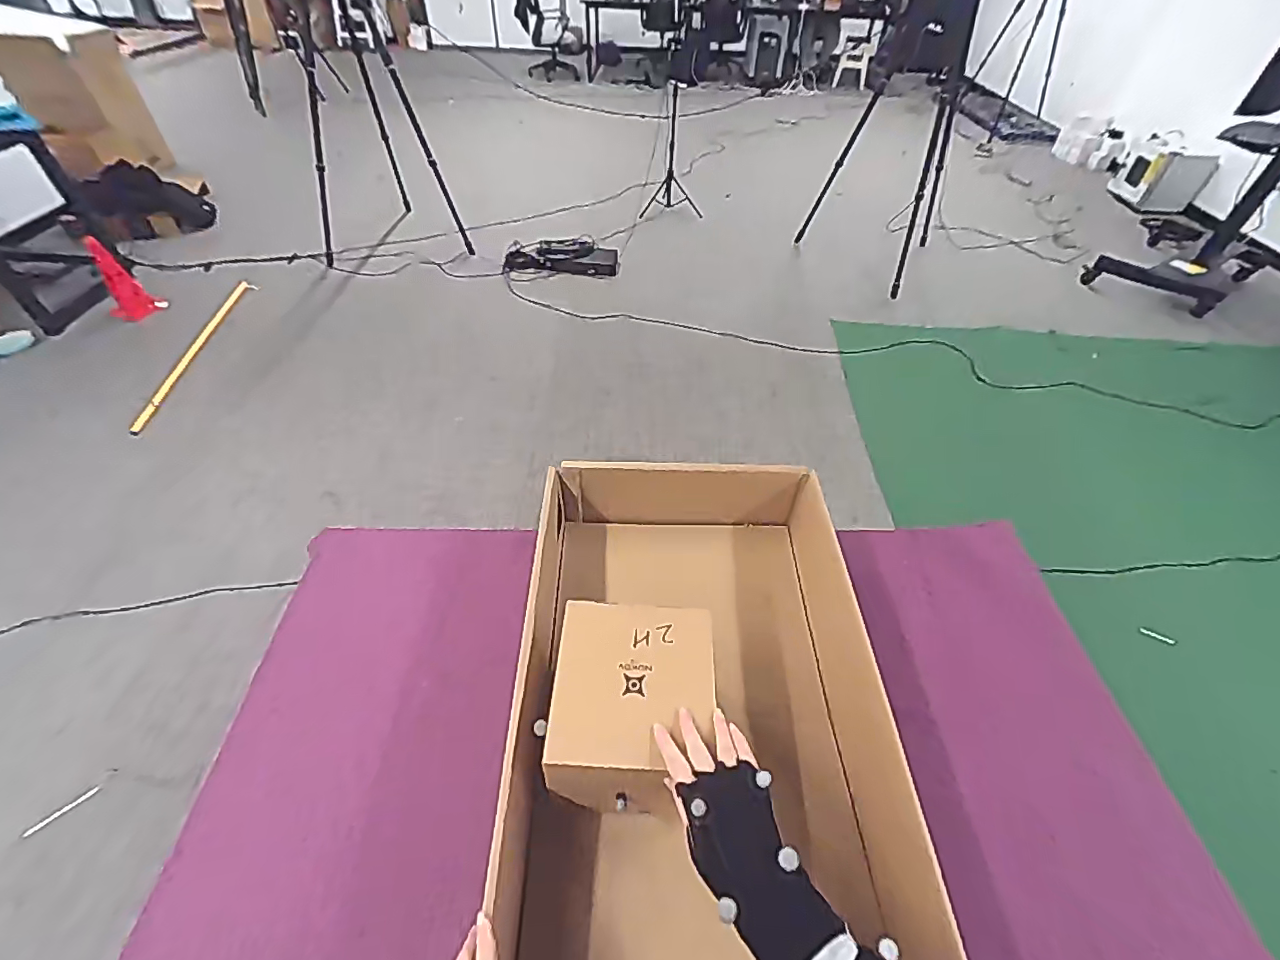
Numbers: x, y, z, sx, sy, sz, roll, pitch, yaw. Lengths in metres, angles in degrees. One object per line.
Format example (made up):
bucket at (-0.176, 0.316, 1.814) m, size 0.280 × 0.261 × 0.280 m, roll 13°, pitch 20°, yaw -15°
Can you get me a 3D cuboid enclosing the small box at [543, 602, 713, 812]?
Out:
small box at (-0.008, 0.264, 0.622) m, size 0.168 × 0.176 × 0.179 m, roll 4°, pitch 46°, yaw 0°
